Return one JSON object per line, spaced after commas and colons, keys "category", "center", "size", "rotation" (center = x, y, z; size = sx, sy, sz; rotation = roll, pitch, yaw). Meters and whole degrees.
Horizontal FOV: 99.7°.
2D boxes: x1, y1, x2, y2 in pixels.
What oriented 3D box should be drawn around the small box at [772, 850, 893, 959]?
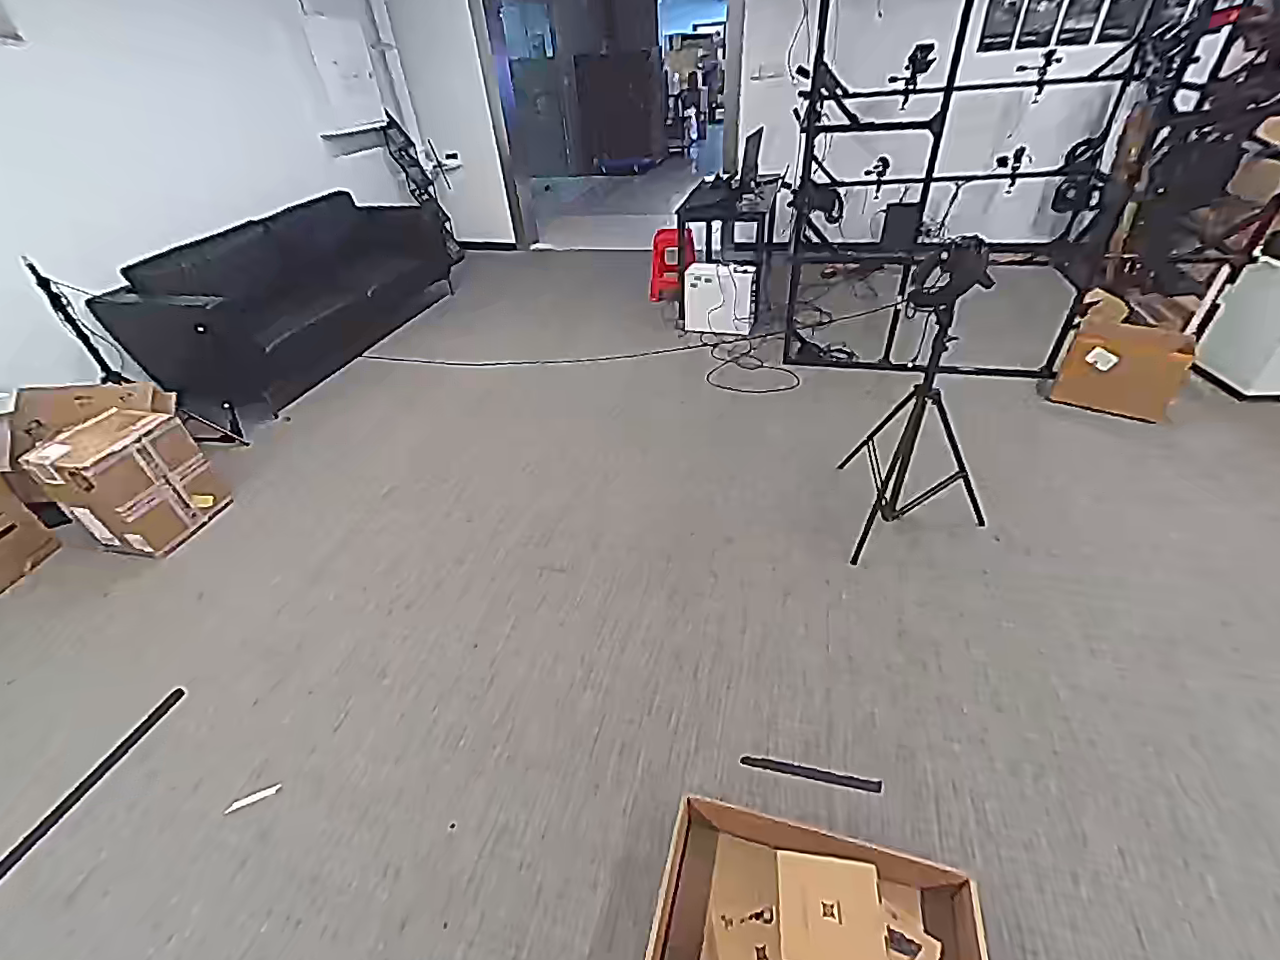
{"category": "small box", "center": [0.335, 0.801, 0.970], "size": [0.179, 0.176, 0.168], "rotation": [2, 37, 10]}
